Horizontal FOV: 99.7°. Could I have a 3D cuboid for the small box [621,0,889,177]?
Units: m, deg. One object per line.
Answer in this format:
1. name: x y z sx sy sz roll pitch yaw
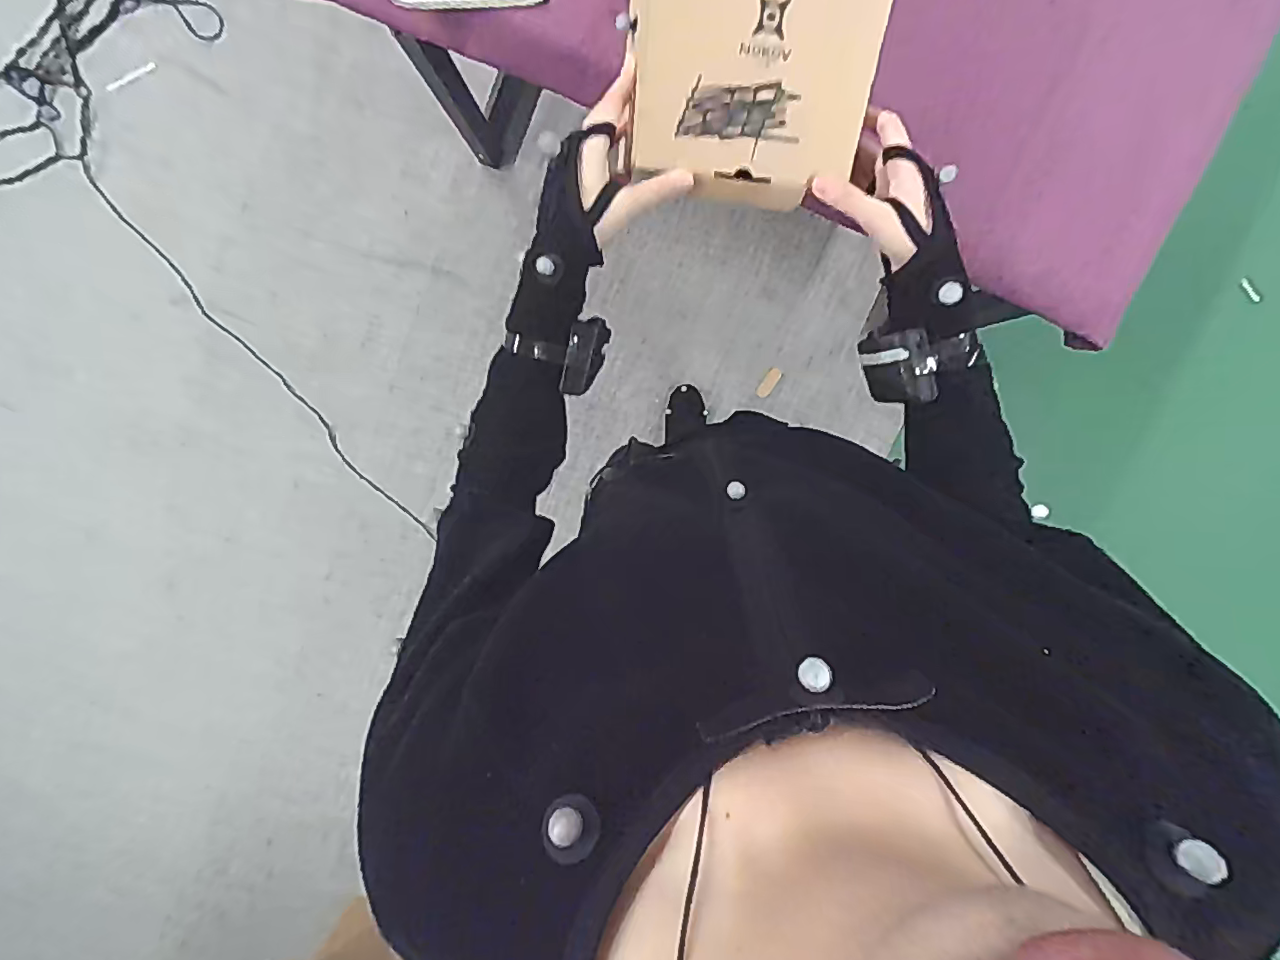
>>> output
1. small box: 0.077 -0.349 0.430 0.168 0.176 0.179 3 117 -8
